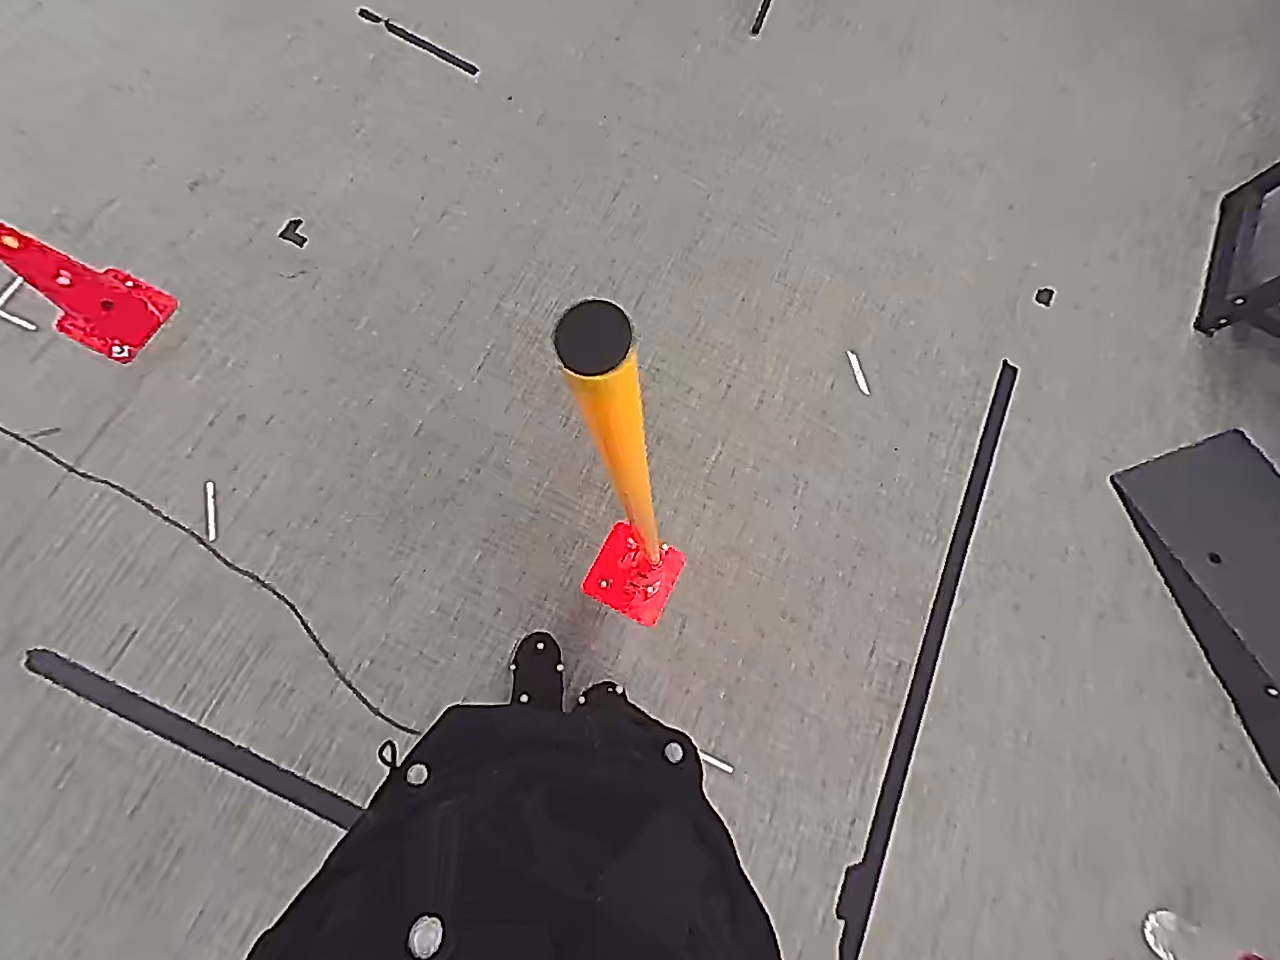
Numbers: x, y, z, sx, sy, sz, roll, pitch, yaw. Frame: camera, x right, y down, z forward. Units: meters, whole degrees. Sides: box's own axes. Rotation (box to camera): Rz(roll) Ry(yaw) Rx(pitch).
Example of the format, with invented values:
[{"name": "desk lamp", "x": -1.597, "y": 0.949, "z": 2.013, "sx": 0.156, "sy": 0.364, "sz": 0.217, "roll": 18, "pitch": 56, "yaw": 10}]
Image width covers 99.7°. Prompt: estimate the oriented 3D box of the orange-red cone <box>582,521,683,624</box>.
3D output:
[{"name": "orange-red cone", "x": 0.005, "y": 0.181, "z": 1.137, "sx": 0.199, "sy": 0.360, "sz": 0.198, "roll": 30, "pitch": 75, "yaw": 0}]
